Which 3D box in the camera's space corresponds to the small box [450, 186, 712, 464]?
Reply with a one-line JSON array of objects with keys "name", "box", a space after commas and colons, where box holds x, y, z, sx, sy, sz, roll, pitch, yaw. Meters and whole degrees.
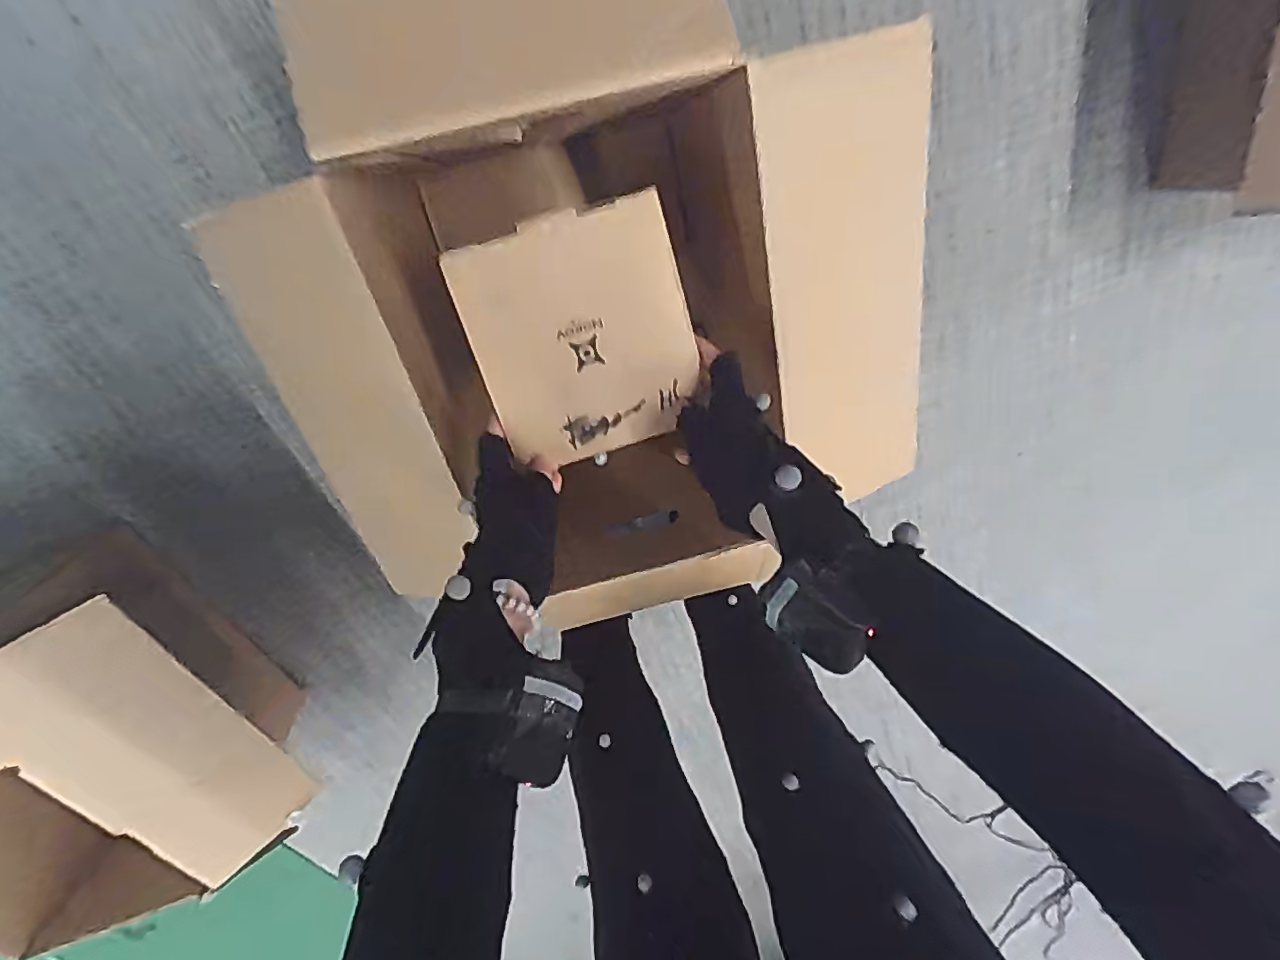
[{"name": "small box", "box": [-0.047, -0.134, 0.488, 0.168, 0.176, 0.179, -15, 108, 0]}]
